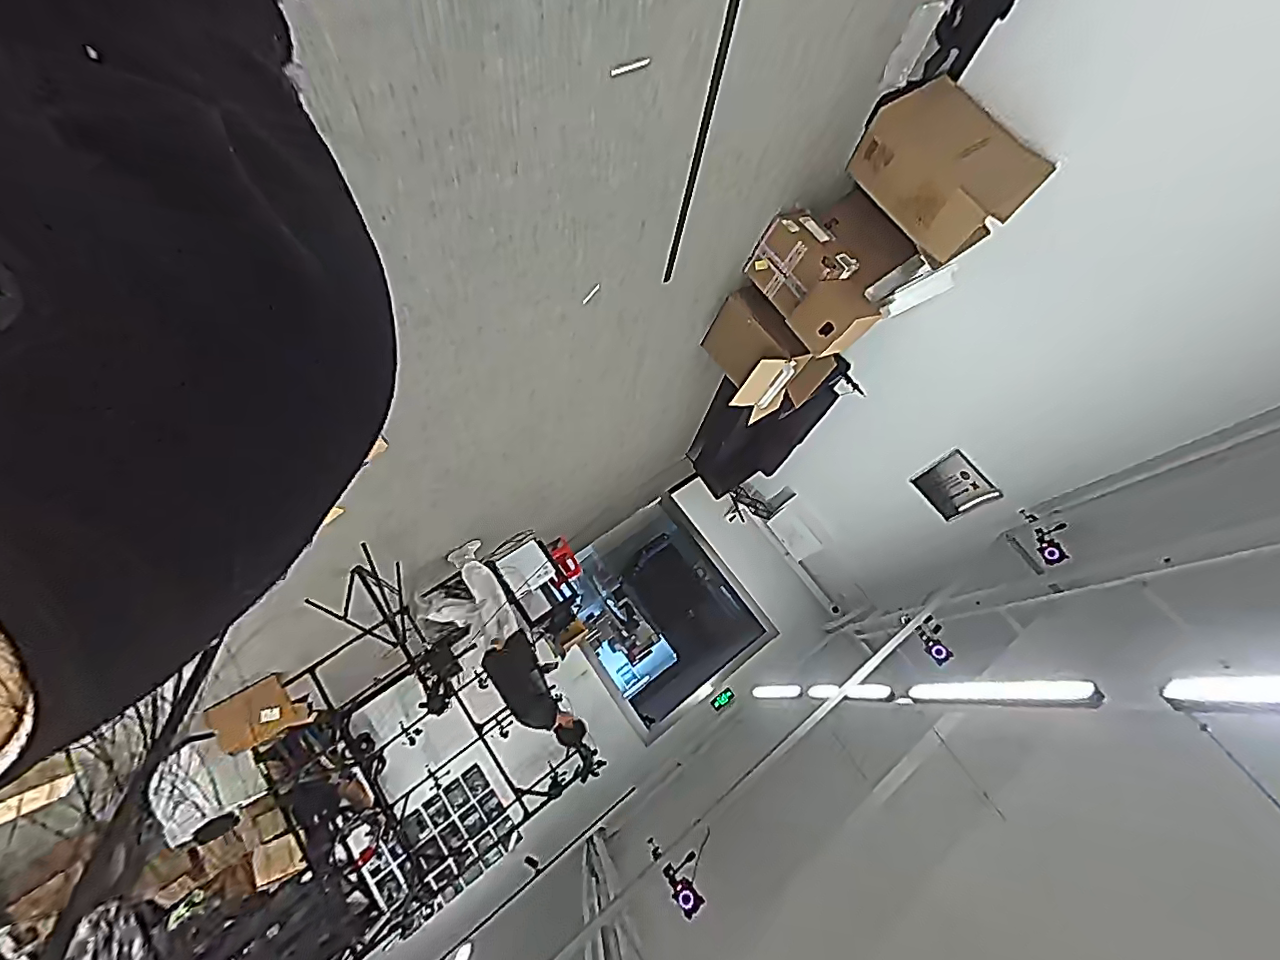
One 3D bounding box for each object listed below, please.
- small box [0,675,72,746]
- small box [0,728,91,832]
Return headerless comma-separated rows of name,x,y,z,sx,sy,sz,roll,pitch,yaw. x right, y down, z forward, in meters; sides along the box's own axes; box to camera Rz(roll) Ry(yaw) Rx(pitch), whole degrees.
small box,-1.749,0.679,1.507,0.179,0.176,0.168,-43,166,22
small box,-1.651,0.803,1.464,0.179,0.176,0.168,-43,166,22
